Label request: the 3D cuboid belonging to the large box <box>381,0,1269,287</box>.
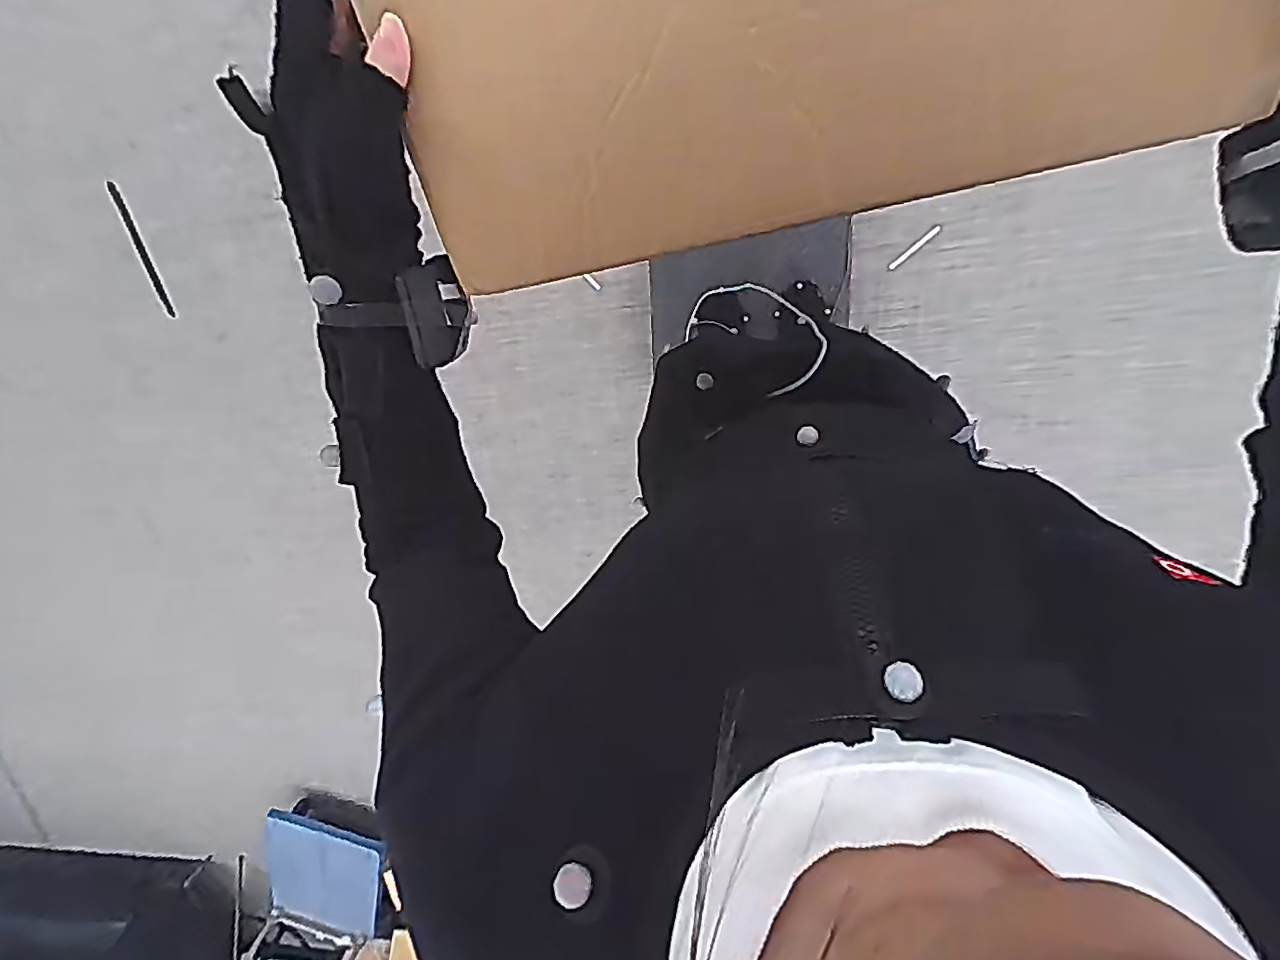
[{"bbox_3d":[0.074,-0.353,0.354,0.408,0.320,0.320,-8,120,12],"label":"large box"}]
